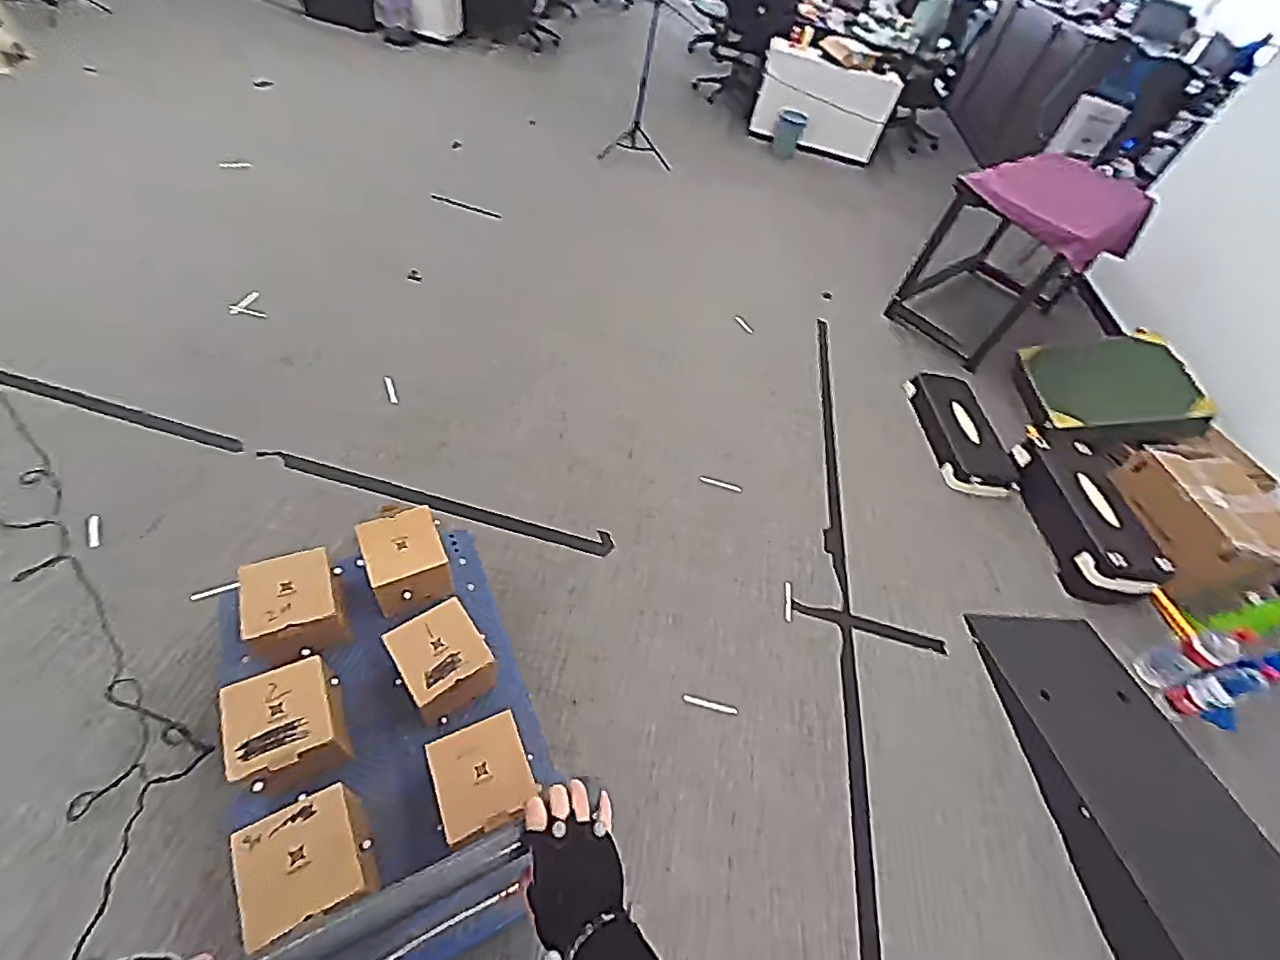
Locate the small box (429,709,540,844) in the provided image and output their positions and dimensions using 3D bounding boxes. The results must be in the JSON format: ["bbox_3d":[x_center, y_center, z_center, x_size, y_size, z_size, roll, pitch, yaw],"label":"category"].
[{"bbox_3d":[-0.302,0.584,1.060,0.168,0.176,0.179,-14,56,-24],"label":"small box"}]

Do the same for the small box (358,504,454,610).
[{"bbox_3d":[-0.560,0.193,1.308,0.168,0.176,0.179,-18,58,-26],"label":"small box"}]

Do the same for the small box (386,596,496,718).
[{"bbox_3d":[-0.426,0.393,1.180,0.168,0.176,0.179,-27,61,-30],"label":"small box"}]

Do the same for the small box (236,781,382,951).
[{"bbox_3d":[-0.561,0.658,0.933,0.168,0.176,0.179,-18,59,-27],"label":"small box"}]

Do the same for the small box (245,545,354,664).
[{"bbox_3d":[-0.747,0.275,1.193,0.168,0.176,0.179,-14,57,-23],"label":"small box"}]
